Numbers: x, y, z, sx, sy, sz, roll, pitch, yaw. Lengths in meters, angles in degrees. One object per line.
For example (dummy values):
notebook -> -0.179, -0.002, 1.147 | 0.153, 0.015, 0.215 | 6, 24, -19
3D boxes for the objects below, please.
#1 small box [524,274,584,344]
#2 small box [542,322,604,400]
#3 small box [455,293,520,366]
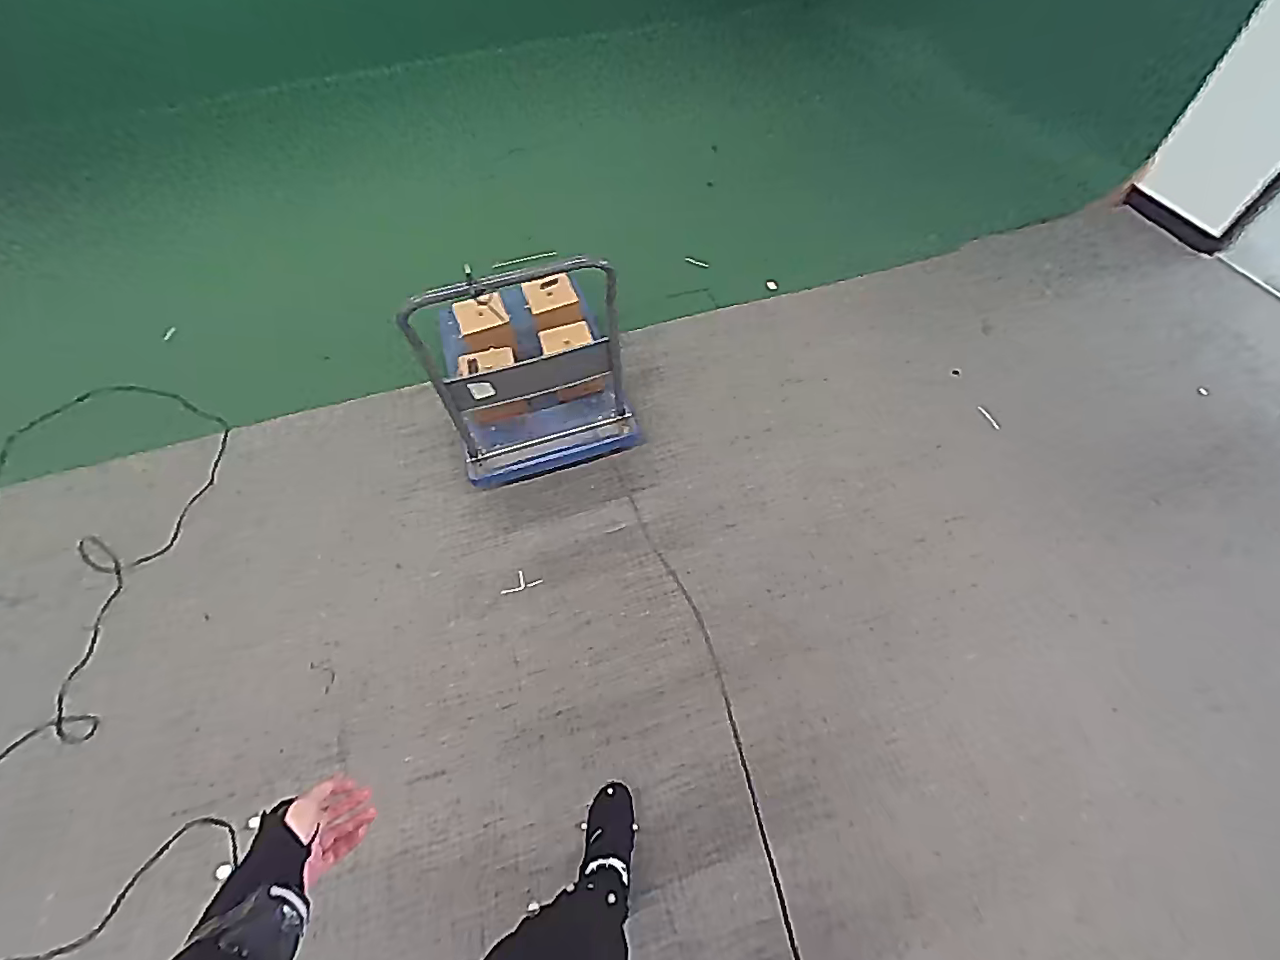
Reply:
small box -> -0.309, -0.618, 1.980 | 0.168, 0.176, 0.179 | -20, 60, -8
small box -> -0.227, -0.402, 1.839 | 0.168, 0.176, 0.179 | -15, 59, -7
small box -> -0.542, -0.533, 1.940 | 0.168, 0.176, 0.179 | -19, 58, -10
